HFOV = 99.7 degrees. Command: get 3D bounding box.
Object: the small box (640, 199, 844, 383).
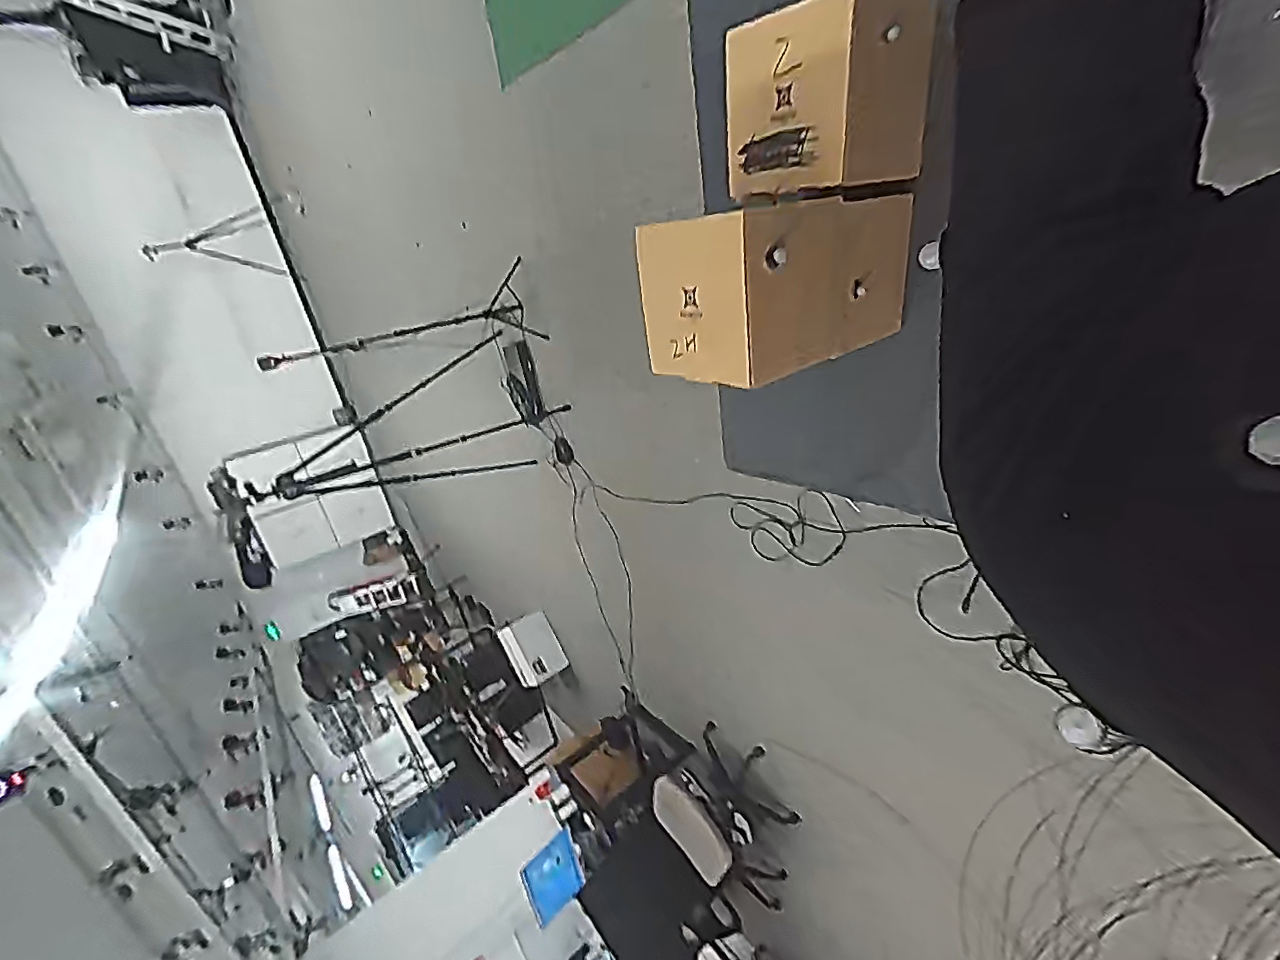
[{"bbox_3d":[0.124,-0.228,0.641,0.168,0.176,0.179,21,127,47],"label":"small box"}]
